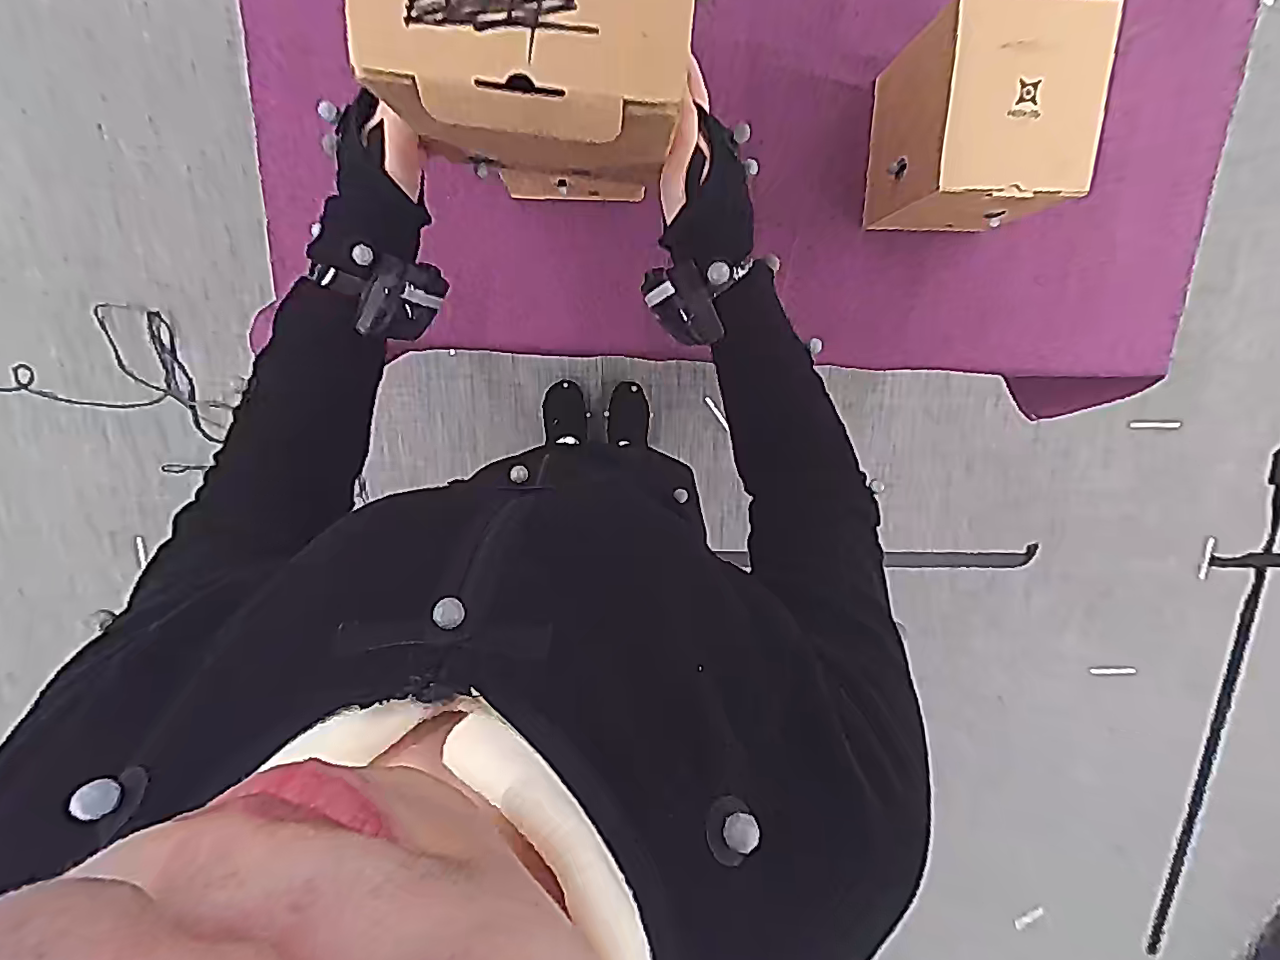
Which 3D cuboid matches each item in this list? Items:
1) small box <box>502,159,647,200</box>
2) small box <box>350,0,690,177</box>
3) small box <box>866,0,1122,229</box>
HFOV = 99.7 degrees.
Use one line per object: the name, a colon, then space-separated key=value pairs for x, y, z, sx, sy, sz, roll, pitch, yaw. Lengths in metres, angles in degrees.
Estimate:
small box: x=-0.072 y=-0.420 z=0.579 sx=0.168 sy=0.176 sz=0.179 roll=-1 pitch=104 yaw=-4
small box: x=-0.054 y=-0.300 z=0.323 sx=0.168 sy=0.176 sz=0.179 roll=4 pitch=106 yaw=-4
small box: x=0.376 y=-0.393 z=0.611 sx=0.168 sy=0.176 sz=0.179 roll=0 pitch=103 yaw=-4
